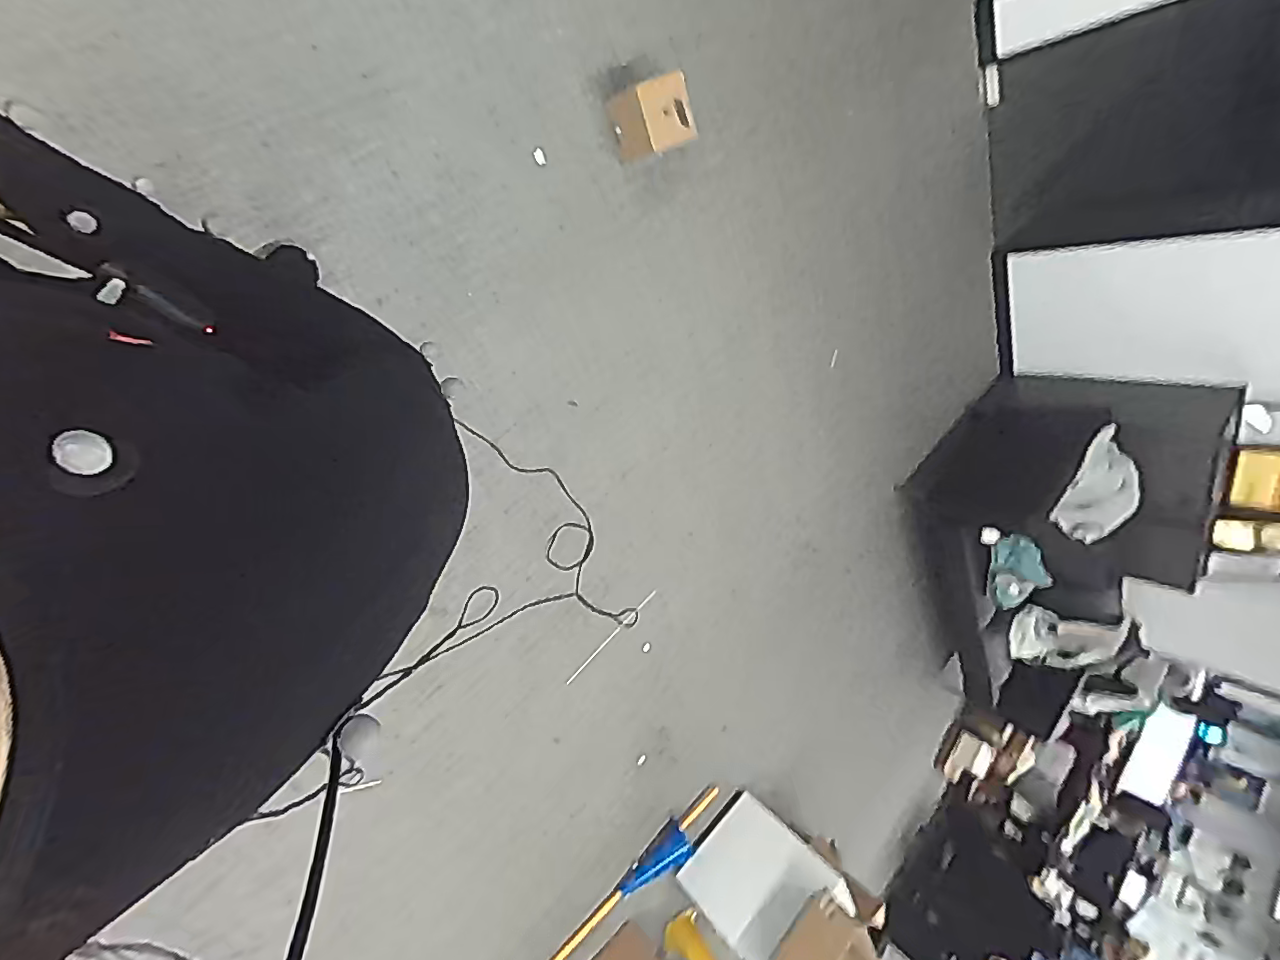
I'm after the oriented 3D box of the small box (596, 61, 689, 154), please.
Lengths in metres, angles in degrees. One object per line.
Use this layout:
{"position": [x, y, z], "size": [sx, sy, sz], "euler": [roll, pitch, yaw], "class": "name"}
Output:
{"position": [0.006, -1.060, 1.545], "size": [0.179, 0.176, 0.168], "euler": [-36, 123, -23], "class": "small box"}
